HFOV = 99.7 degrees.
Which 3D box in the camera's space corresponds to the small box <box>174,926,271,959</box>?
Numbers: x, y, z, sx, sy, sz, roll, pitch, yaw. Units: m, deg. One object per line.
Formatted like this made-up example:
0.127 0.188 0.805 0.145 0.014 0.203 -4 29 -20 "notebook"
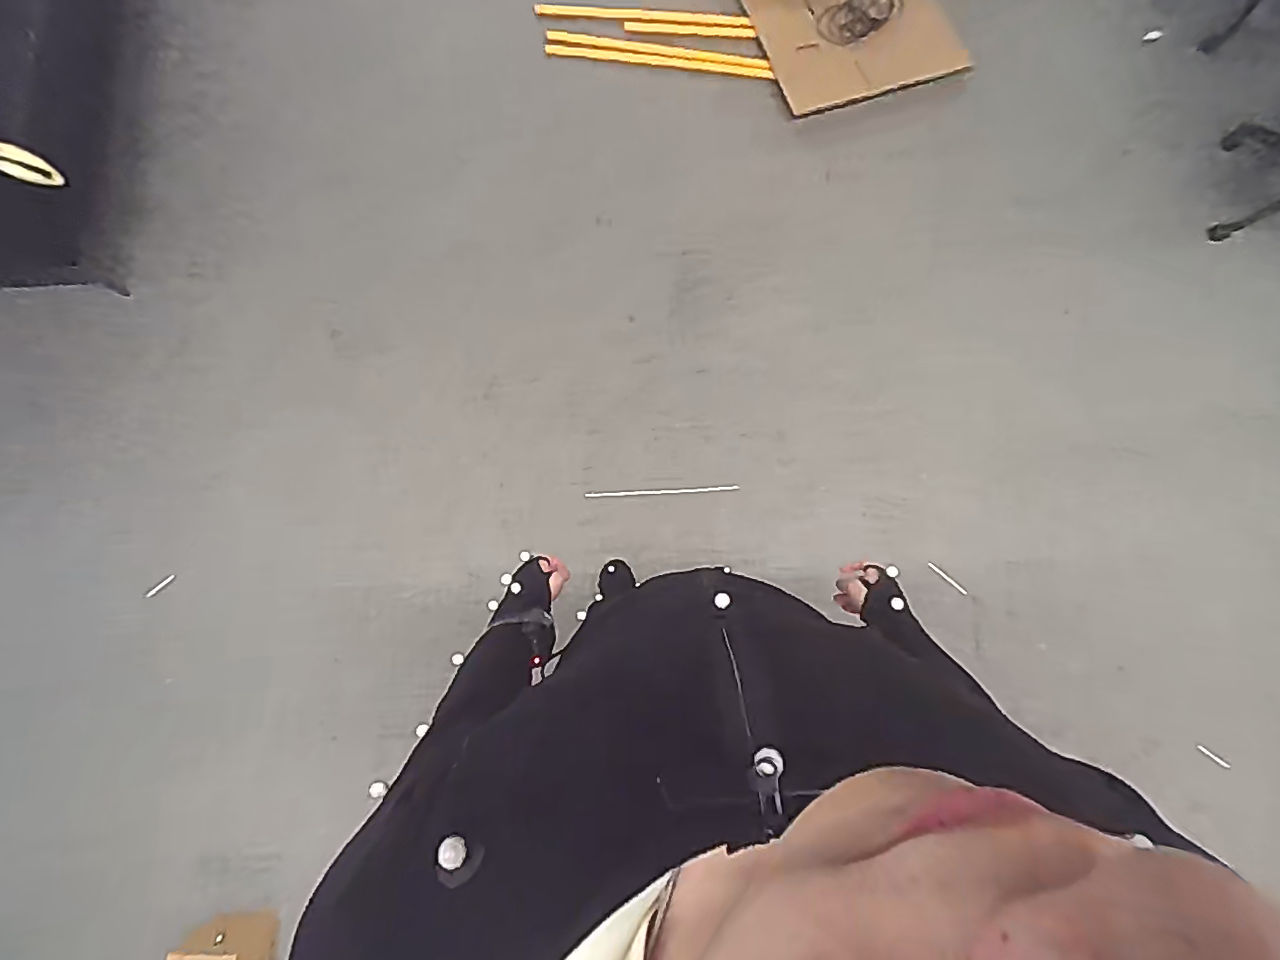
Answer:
-1.079 1.271 1.369 0.179 0.176 0.168 1 79 0 "small box"
